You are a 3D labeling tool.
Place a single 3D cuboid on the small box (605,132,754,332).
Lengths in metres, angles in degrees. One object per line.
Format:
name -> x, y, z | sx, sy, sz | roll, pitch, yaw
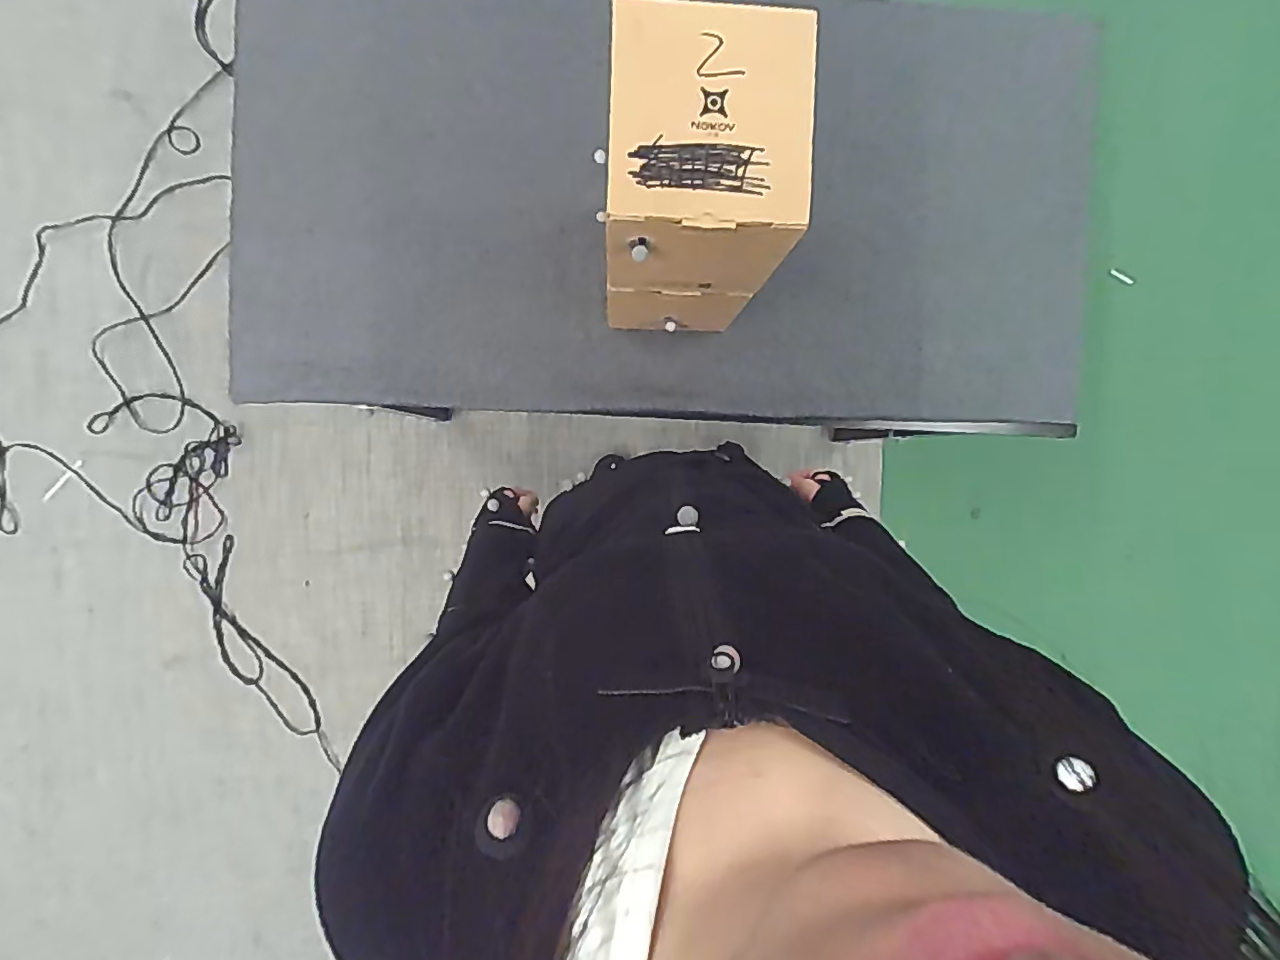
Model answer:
small box -> 0.041, -0.297, 0.681 | 0.168, 0.176, 0.179 | 1, 92, -3
